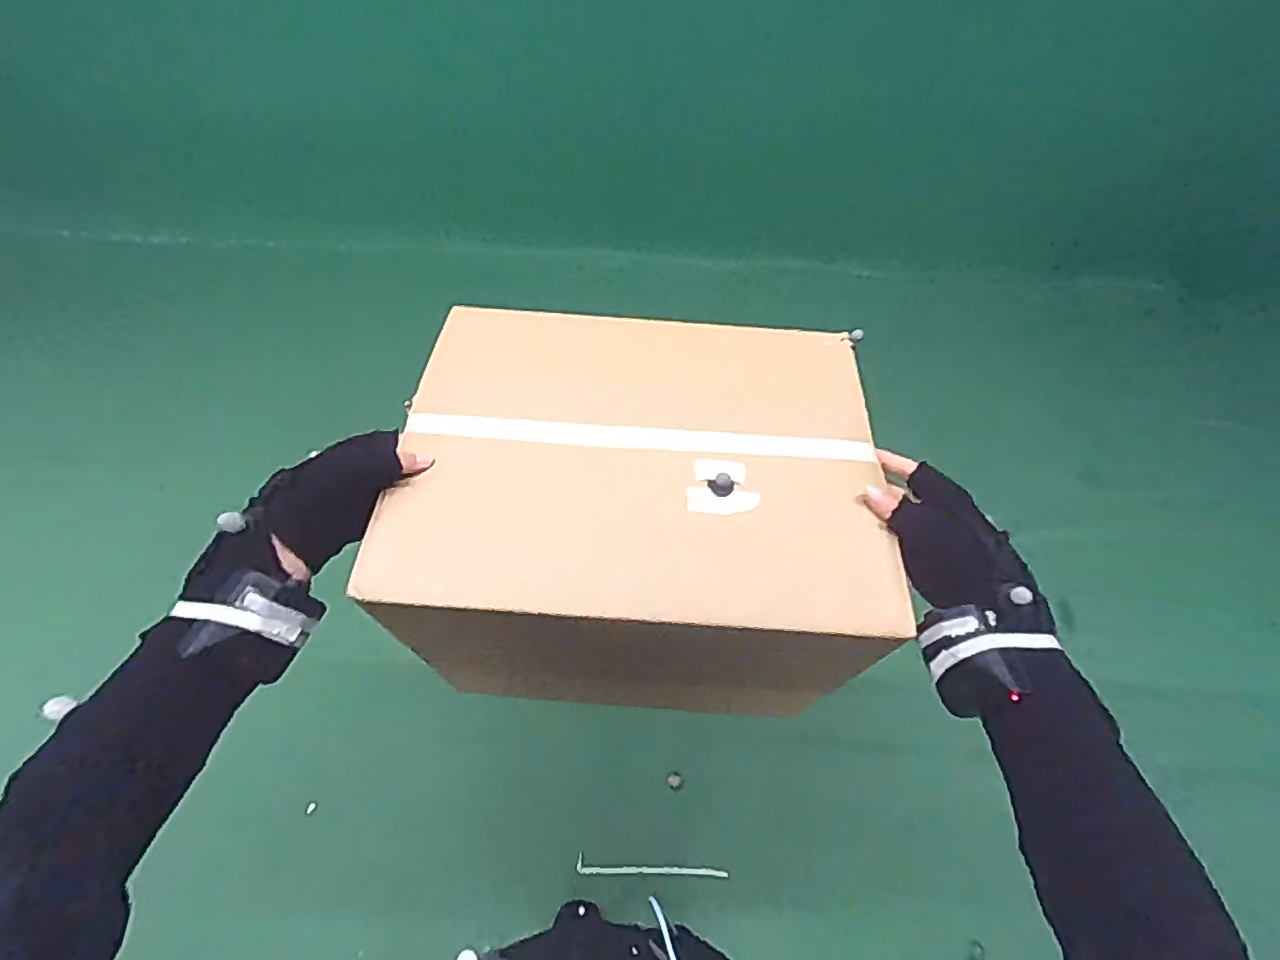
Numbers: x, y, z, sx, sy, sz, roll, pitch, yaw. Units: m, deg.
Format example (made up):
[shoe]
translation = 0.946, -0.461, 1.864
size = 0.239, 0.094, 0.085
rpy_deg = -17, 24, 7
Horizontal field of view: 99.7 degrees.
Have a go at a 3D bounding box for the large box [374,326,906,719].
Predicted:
[large box]
translation = -0.001, 0.062, 0.601
size = 0.408, 0.320, 0.320
rpy_deg = 5, 56, -1
